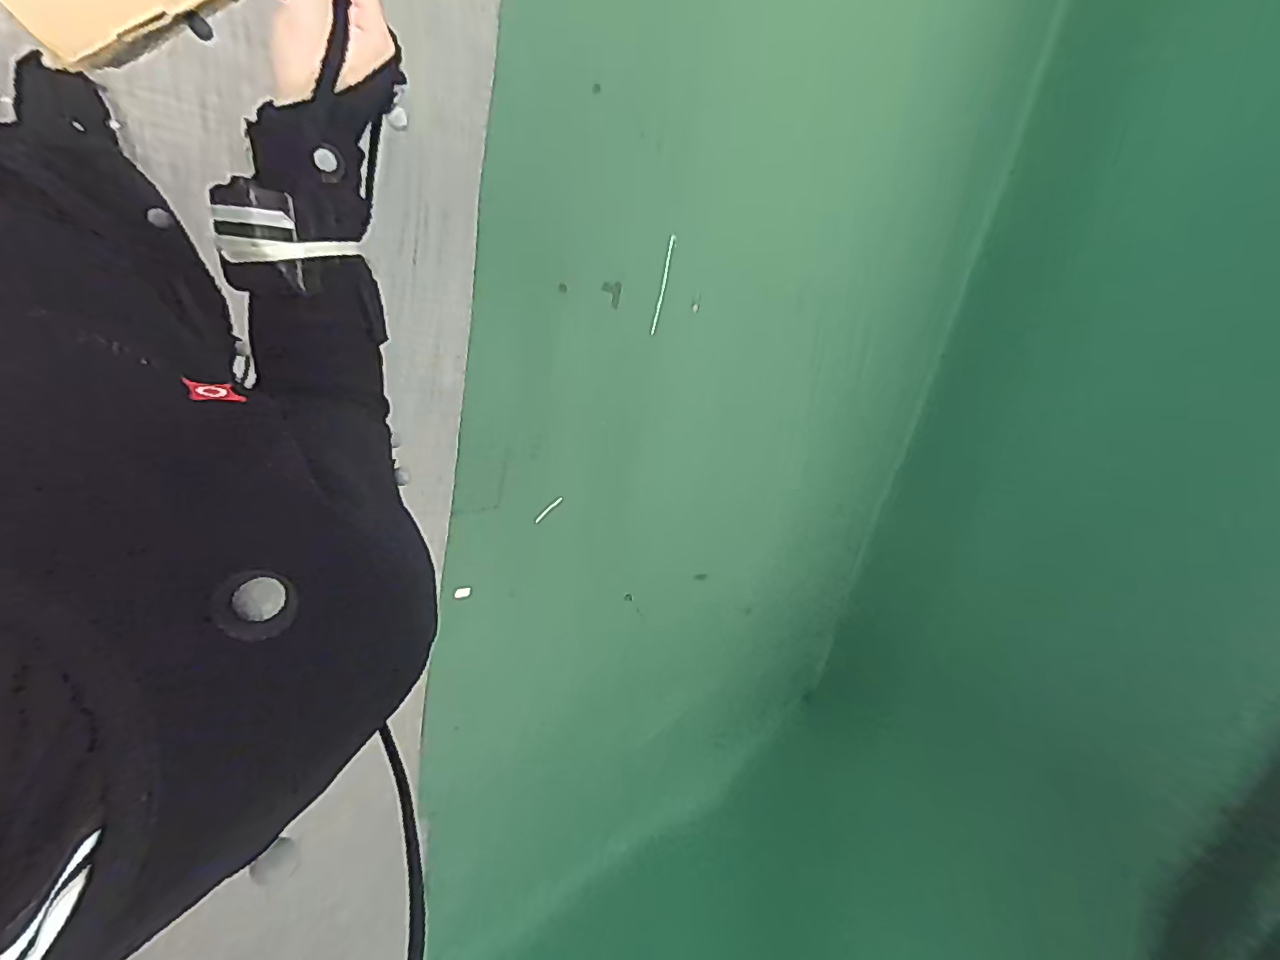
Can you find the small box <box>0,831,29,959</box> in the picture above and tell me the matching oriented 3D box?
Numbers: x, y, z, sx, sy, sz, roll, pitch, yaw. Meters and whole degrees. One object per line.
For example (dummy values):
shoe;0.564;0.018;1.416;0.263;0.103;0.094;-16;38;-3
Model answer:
small box;-0.880;0.569;0.656;0.168;0.176;0.179;5;109;-43
